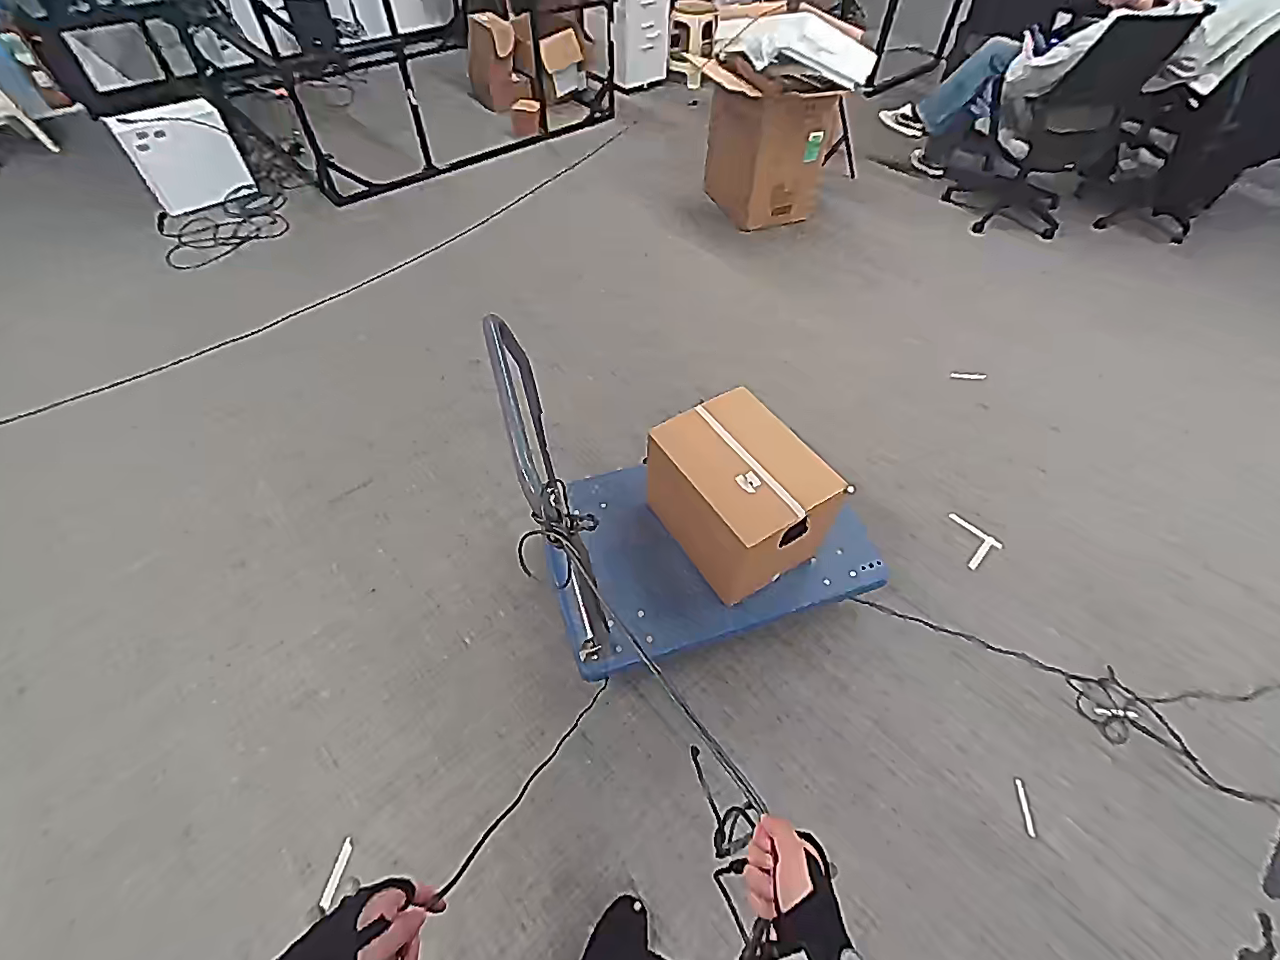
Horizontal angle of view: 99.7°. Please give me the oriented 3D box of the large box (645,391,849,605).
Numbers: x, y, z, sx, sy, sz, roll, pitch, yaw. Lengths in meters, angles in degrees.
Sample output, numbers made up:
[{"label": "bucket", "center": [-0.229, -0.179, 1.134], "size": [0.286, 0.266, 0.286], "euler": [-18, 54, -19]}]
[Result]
[{"label": "large box", "center": [0.250, 0.042, 1.423], "size": [0.320, 0.320, 0.408], "euler": [-27, 59, -19]}]
